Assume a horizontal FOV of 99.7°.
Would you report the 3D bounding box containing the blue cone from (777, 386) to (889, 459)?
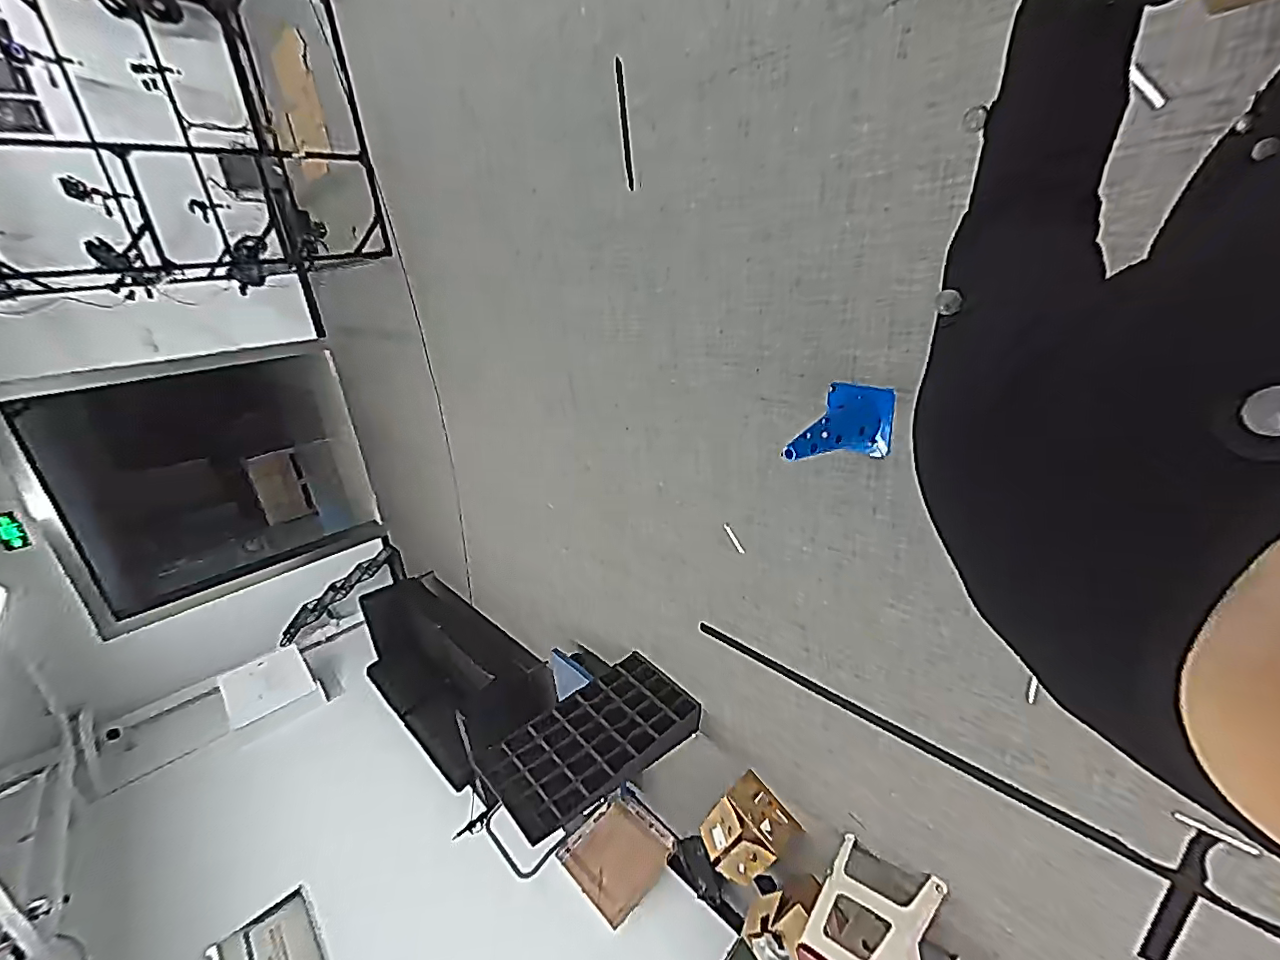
[{"bbox_3d":[0.512,-0.126,1.493,0.192,0.380,0.193,23,125,44],"label":"blue cone"}]
